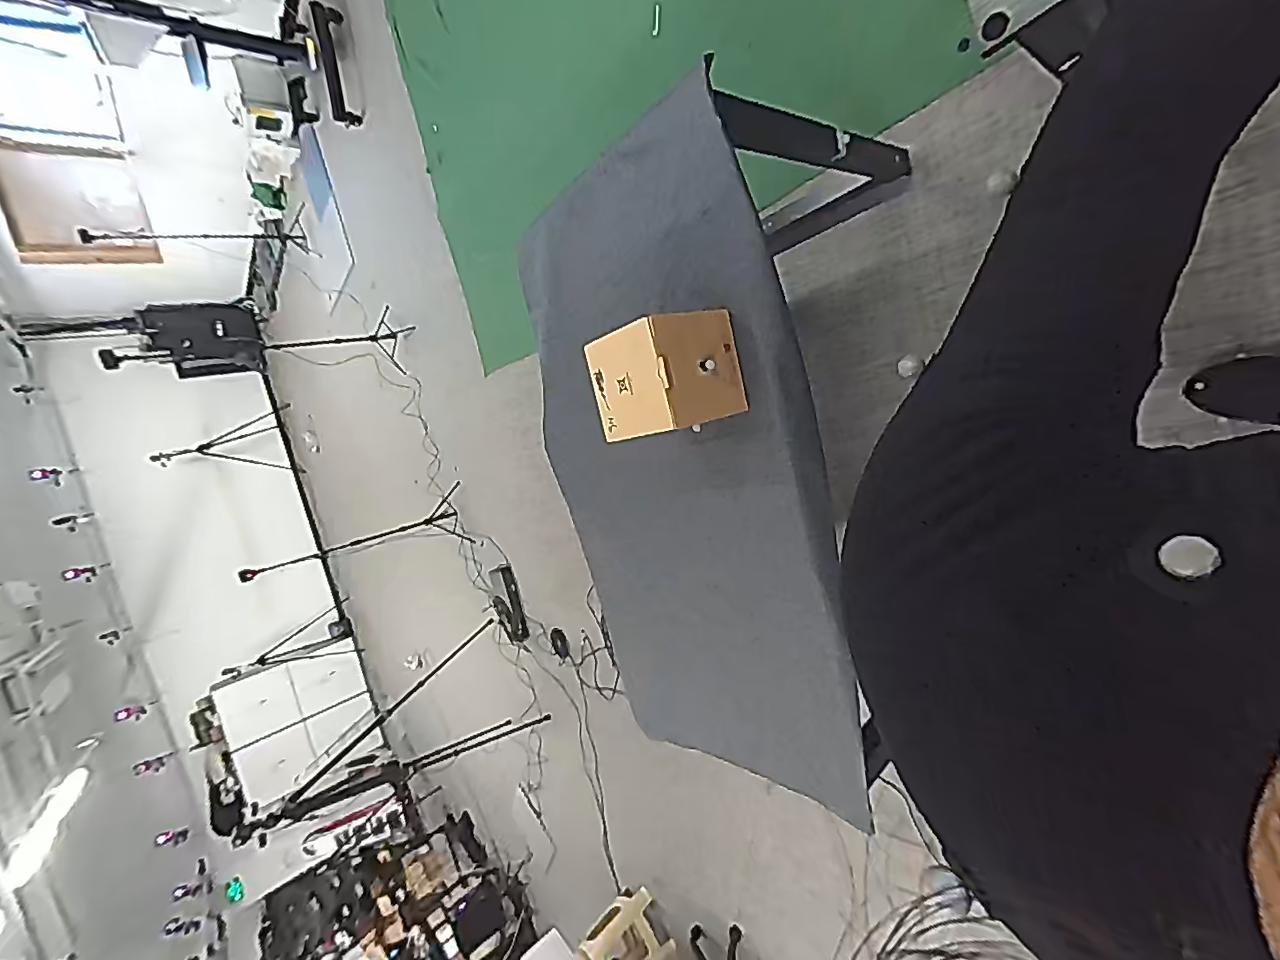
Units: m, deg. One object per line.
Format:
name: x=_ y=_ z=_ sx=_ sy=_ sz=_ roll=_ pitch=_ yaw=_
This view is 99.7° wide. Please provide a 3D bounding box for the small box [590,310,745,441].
small box: x=0.051 y=-0.168 z=0.873 sx=0.179 sy=0.176 sz=0.168 roll=-5 pitch=101 yaw=52
